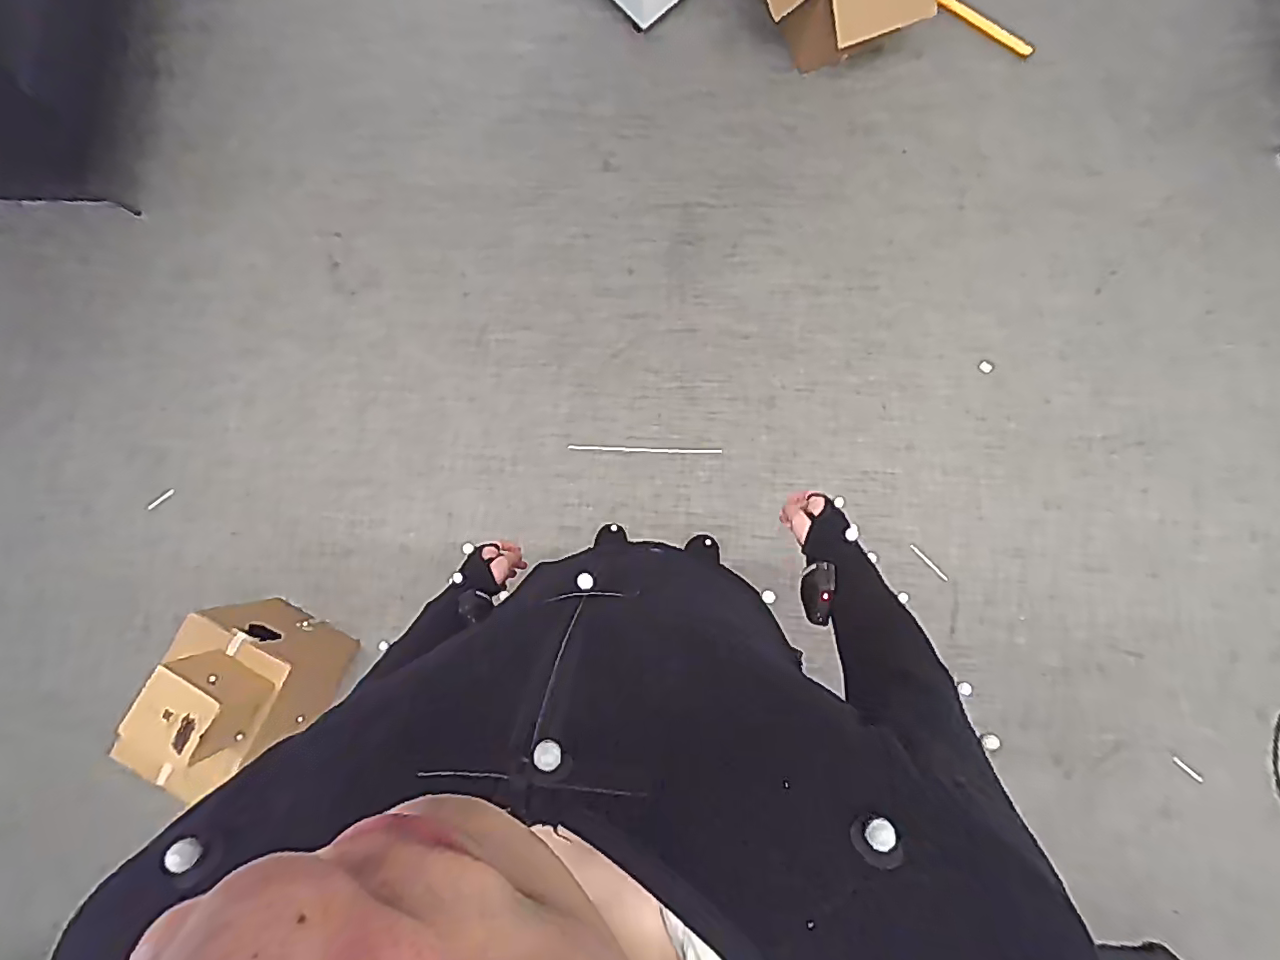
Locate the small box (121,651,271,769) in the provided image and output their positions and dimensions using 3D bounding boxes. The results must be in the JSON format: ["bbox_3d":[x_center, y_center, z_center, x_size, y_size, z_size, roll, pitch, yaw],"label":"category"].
[{"bbox_3d":[-1.020,0.523,1.261,0.179,0.176,0.168,30,86,4],"label":"small box"}]

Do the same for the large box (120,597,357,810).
[{"bbox_3d":[-1.082,0.587,1.504,0.320,0.320,0.408,26,86,5],"label":"large box"}]
